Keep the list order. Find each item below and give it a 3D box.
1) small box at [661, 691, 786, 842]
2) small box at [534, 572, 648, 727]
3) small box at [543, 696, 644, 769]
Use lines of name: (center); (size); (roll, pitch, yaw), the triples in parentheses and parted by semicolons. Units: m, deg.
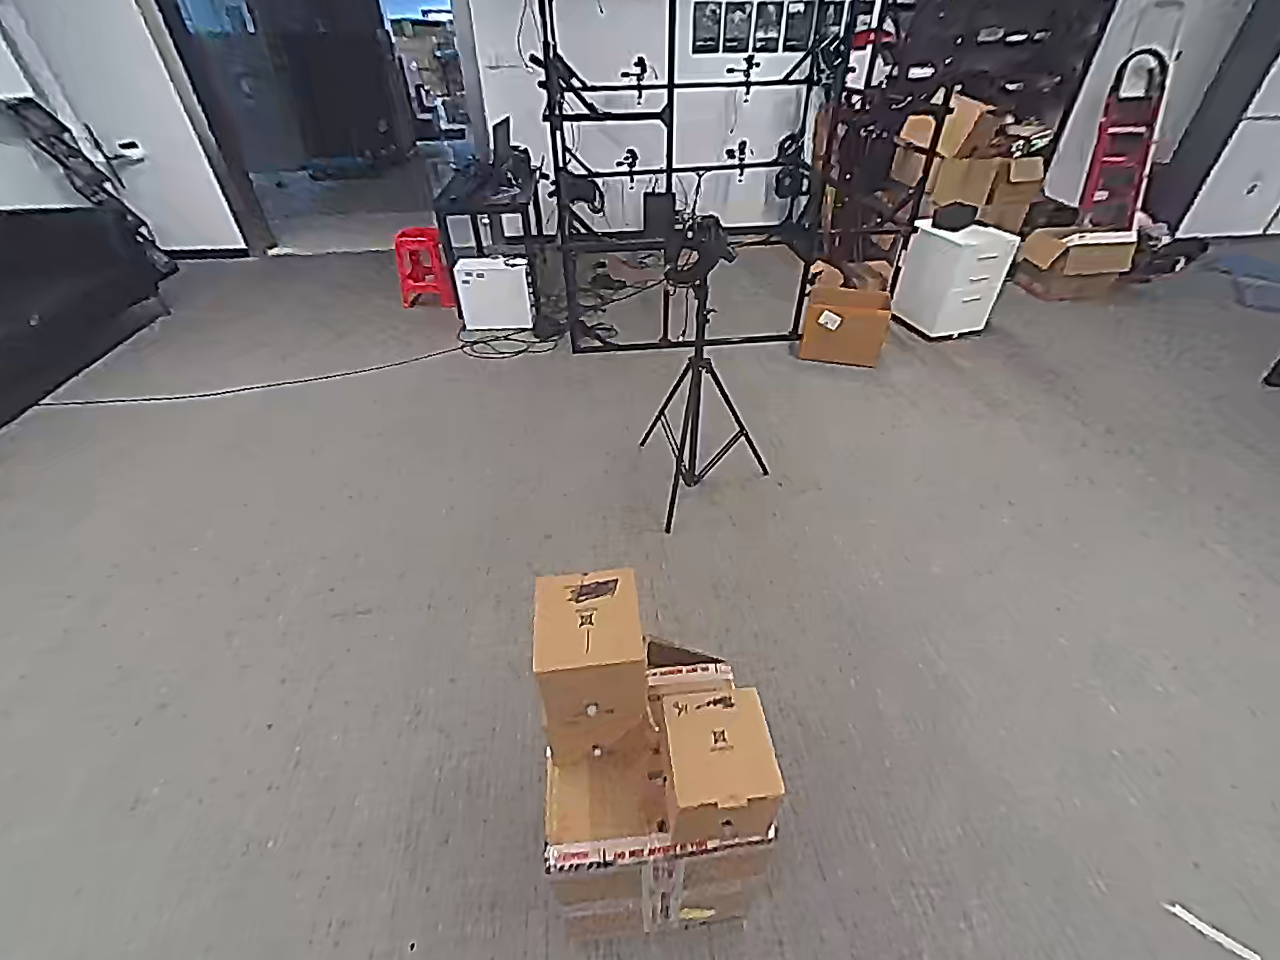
small box: (0.128, 0.481, 0.902); (0.168, 0.176, 0.179); (-3, 41, -5)
small box: (-0.077, 0.279, 0.893); (0.168, 0.176, 0.179); (-6, 42, -3)
small box: (-0.087, 0.402, 1.002); (0.168, 0.176, 0.179); (-8, 42, -6)
